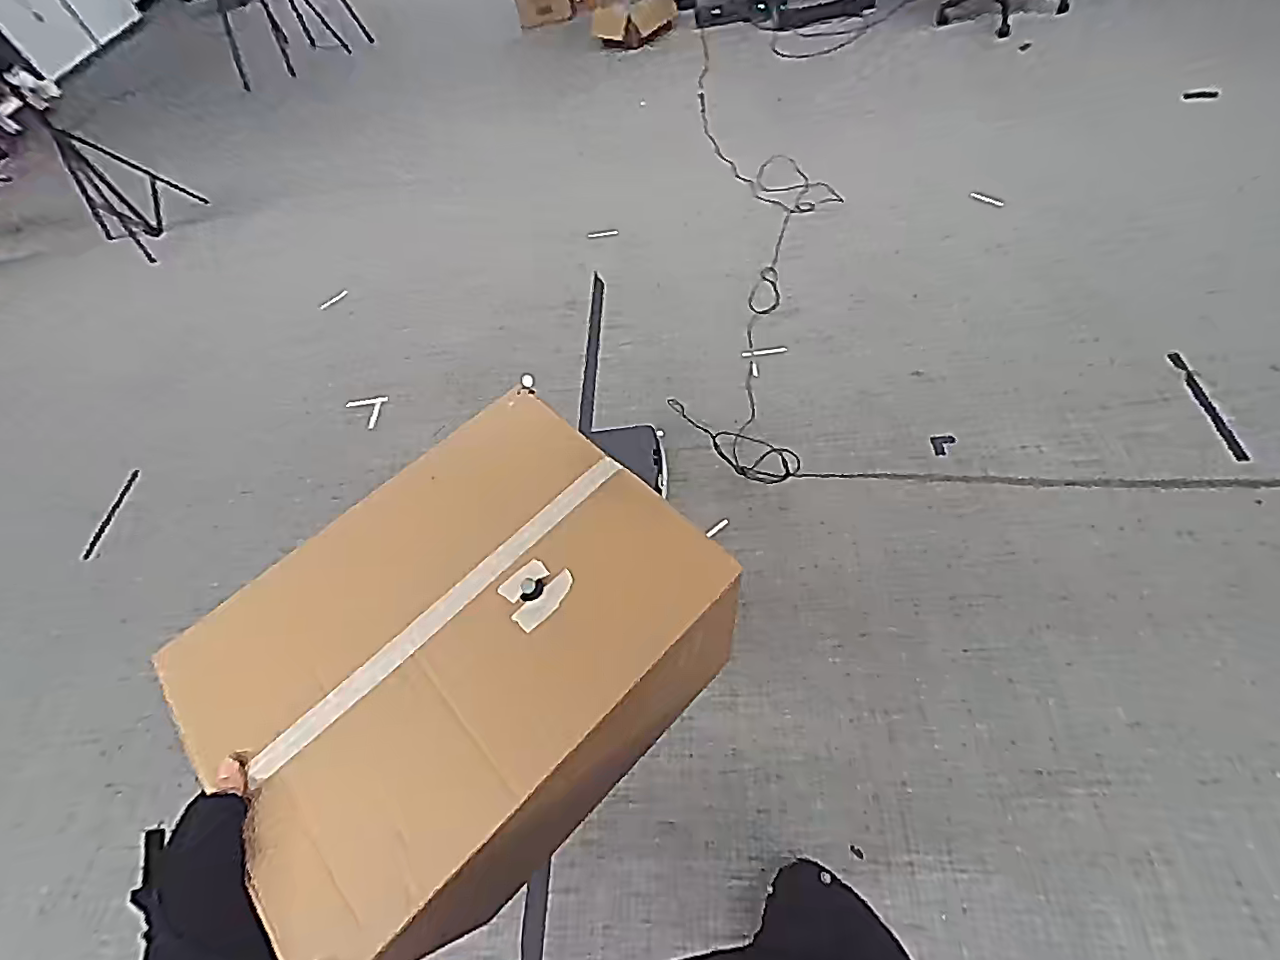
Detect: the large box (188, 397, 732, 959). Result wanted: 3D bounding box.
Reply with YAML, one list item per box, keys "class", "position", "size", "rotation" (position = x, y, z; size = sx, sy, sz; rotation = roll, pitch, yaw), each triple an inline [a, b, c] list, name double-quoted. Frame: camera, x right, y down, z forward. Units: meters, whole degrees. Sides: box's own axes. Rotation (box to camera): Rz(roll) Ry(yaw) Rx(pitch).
- class: "large box"
  position: [-0.145, 0.195, 0.598]
  size: [0.408, 0.320, 0.320]
  rotation: [-41, 63, -18]
